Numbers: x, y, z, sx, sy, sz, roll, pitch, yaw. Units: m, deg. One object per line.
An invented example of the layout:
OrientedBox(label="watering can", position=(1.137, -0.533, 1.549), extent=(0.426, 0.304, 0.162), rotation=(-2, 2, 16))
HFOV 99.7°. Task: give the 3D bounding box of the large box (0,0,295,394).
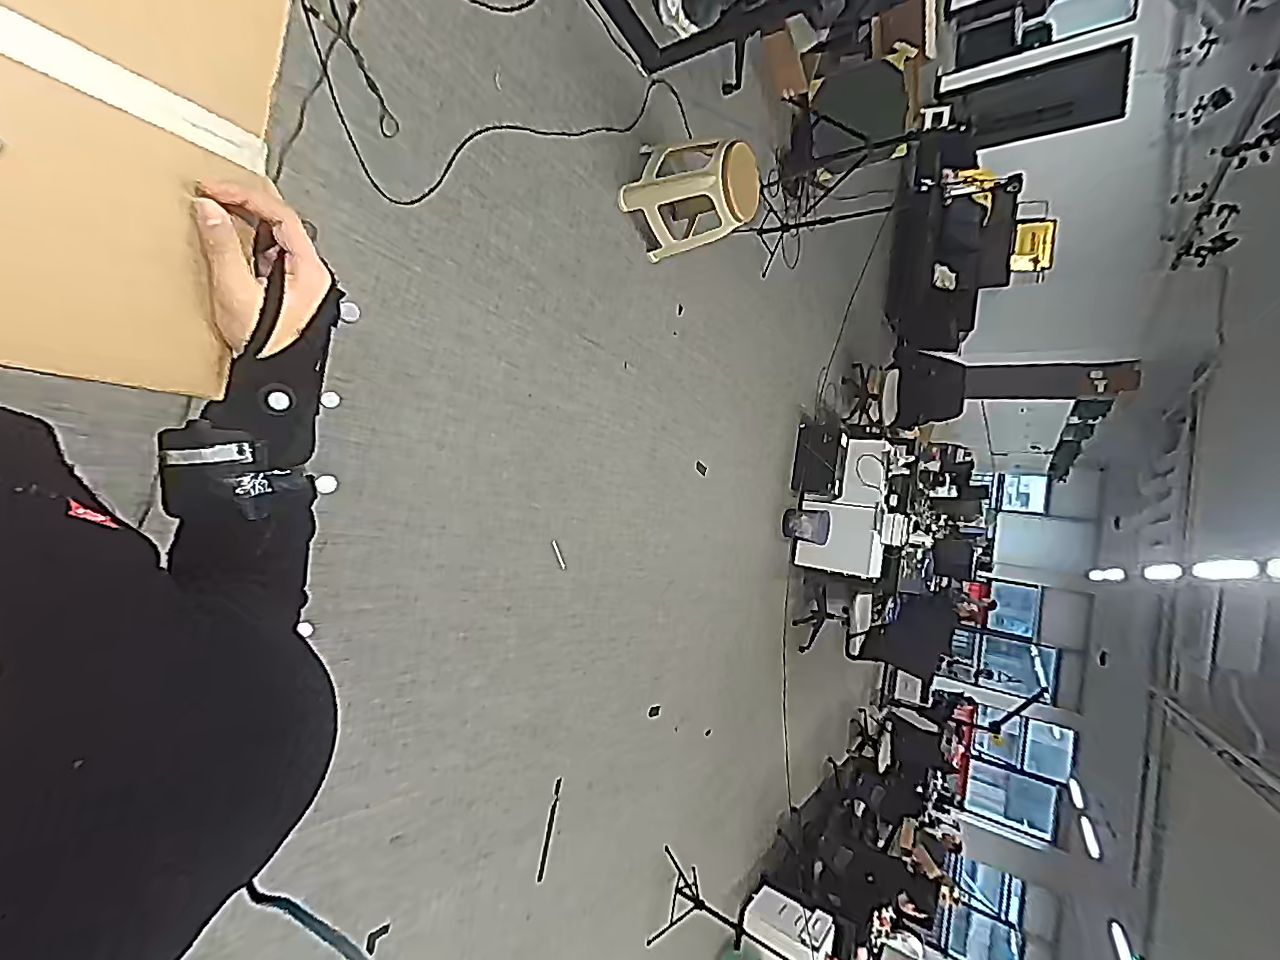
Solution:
OrientedBox(label="large box", position=(-0.481, -0.245, 0.281), extent=(0.408, 0.320, 0.320), rotation=(7, 97, -55))
